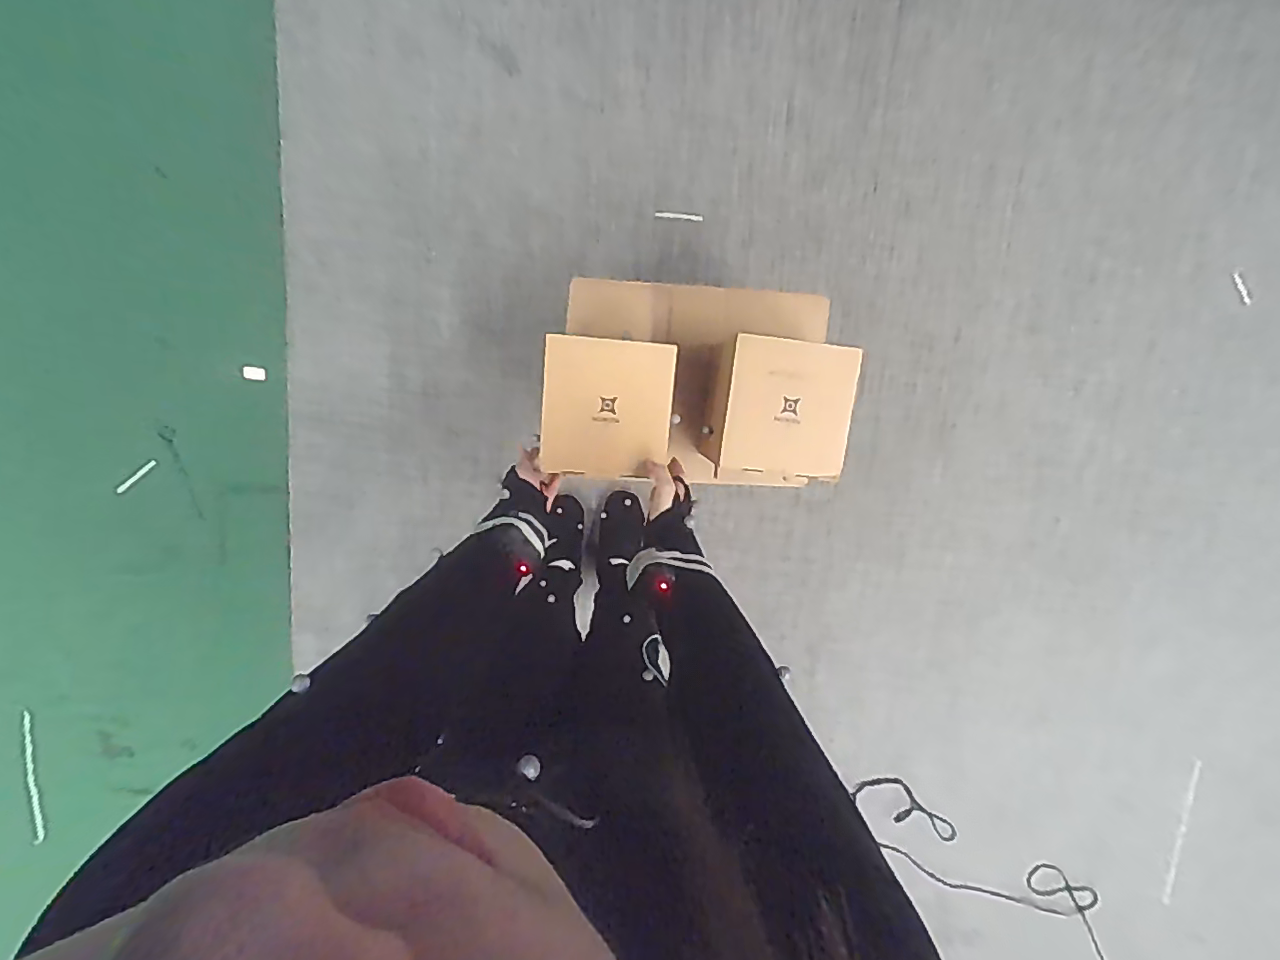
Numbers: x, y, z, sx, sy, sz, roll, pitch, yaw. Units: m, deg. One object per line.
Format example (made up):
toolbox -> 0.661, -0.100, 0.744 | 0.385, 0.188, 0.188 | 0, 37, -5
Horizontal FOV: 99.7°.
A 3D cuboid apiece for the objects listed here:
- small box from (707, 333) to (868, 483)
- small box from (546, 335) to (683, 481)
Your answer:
small box -> 0.197, -0.102, 0.774 | 0.168, 0.176, 0.179 | 7, 98, -3
small box -> -0.041, -0.103, 0.763 | 0.168, 0.176, 0.179 | 4, 101, -5
